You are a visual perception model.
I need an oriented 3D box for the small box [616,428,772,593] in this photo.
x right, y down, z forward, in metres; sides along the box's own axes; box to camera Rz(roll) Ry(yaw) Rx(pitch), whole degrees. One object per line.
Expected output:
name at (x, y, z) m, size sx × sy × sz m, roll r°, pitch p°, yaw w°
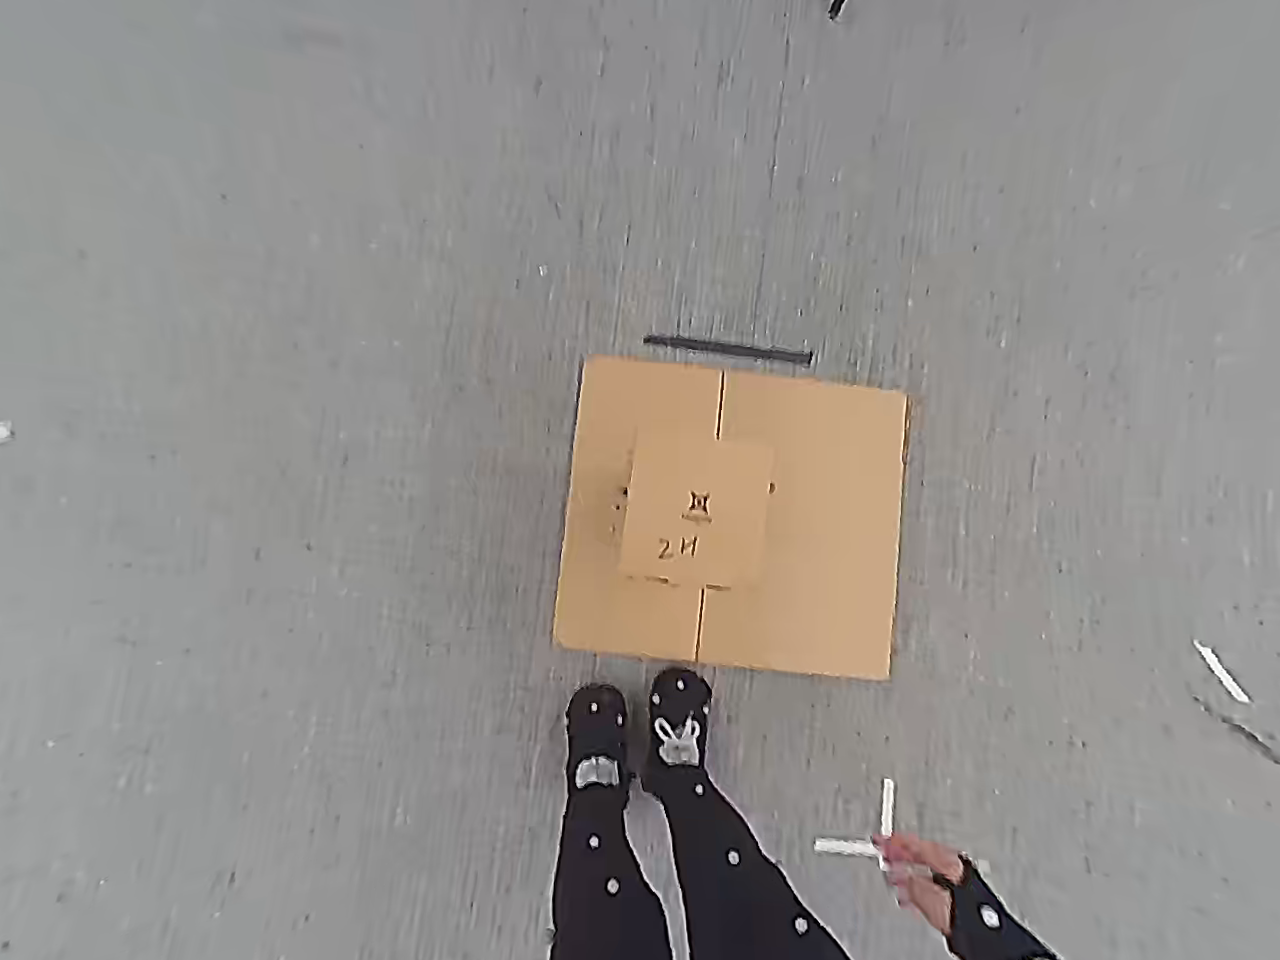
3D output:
small box at (0.061, 0.041, 0.711) m, size 0.168 × 0.176 × 0.179 m, roll 8°, pitch 86°, yaw -2°
